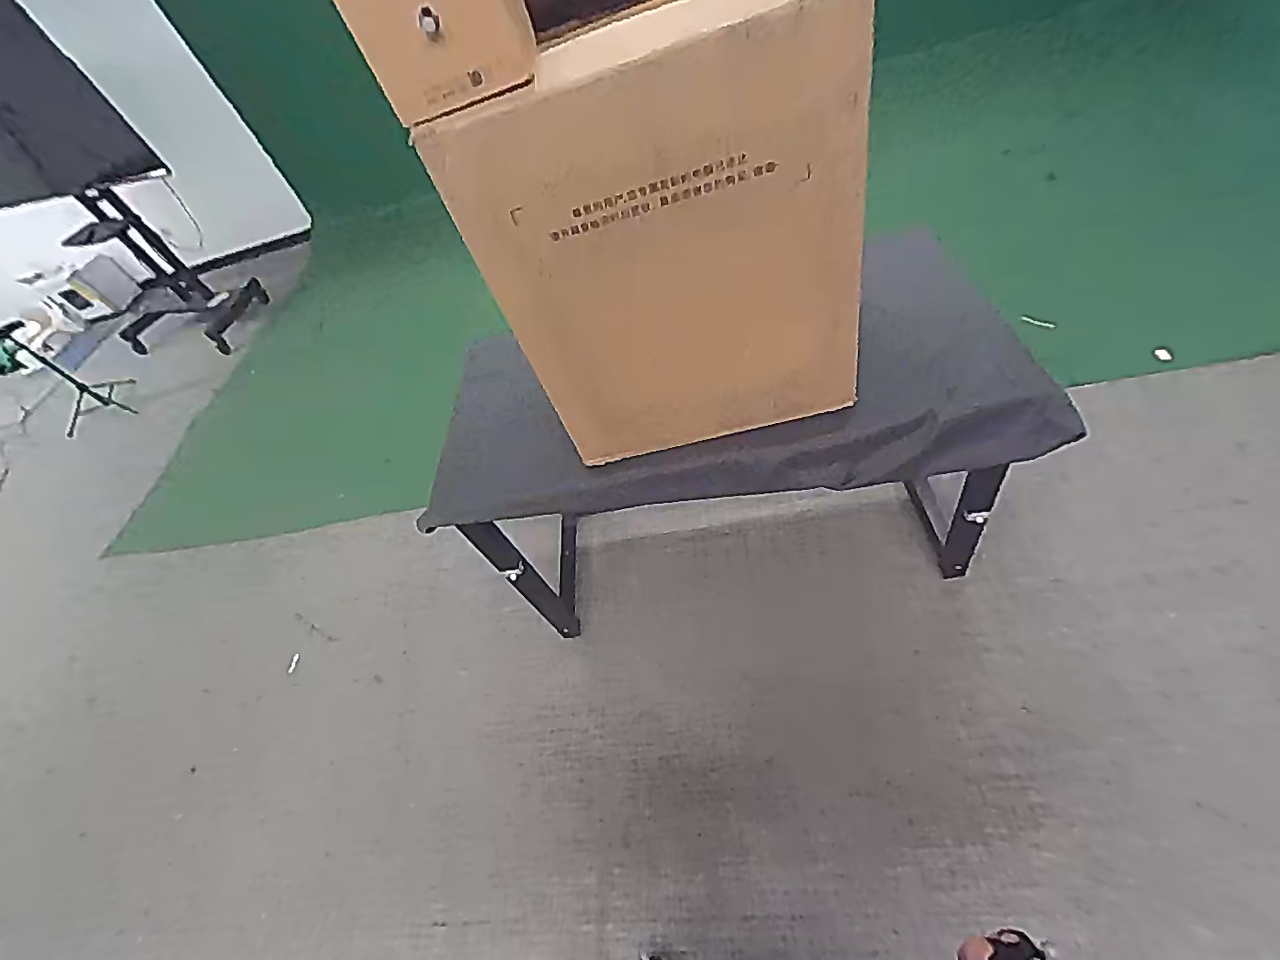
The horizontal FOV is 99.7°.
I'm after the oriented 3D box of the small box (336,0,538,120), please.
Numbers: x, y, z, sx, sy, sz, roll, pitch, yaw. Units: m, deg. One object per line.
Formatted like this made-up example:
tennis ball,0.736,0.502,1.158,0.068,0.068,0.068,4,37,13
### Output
small box,-0.225,-0.543,0.614,0.168,0.176,0.179,-14,51,9
